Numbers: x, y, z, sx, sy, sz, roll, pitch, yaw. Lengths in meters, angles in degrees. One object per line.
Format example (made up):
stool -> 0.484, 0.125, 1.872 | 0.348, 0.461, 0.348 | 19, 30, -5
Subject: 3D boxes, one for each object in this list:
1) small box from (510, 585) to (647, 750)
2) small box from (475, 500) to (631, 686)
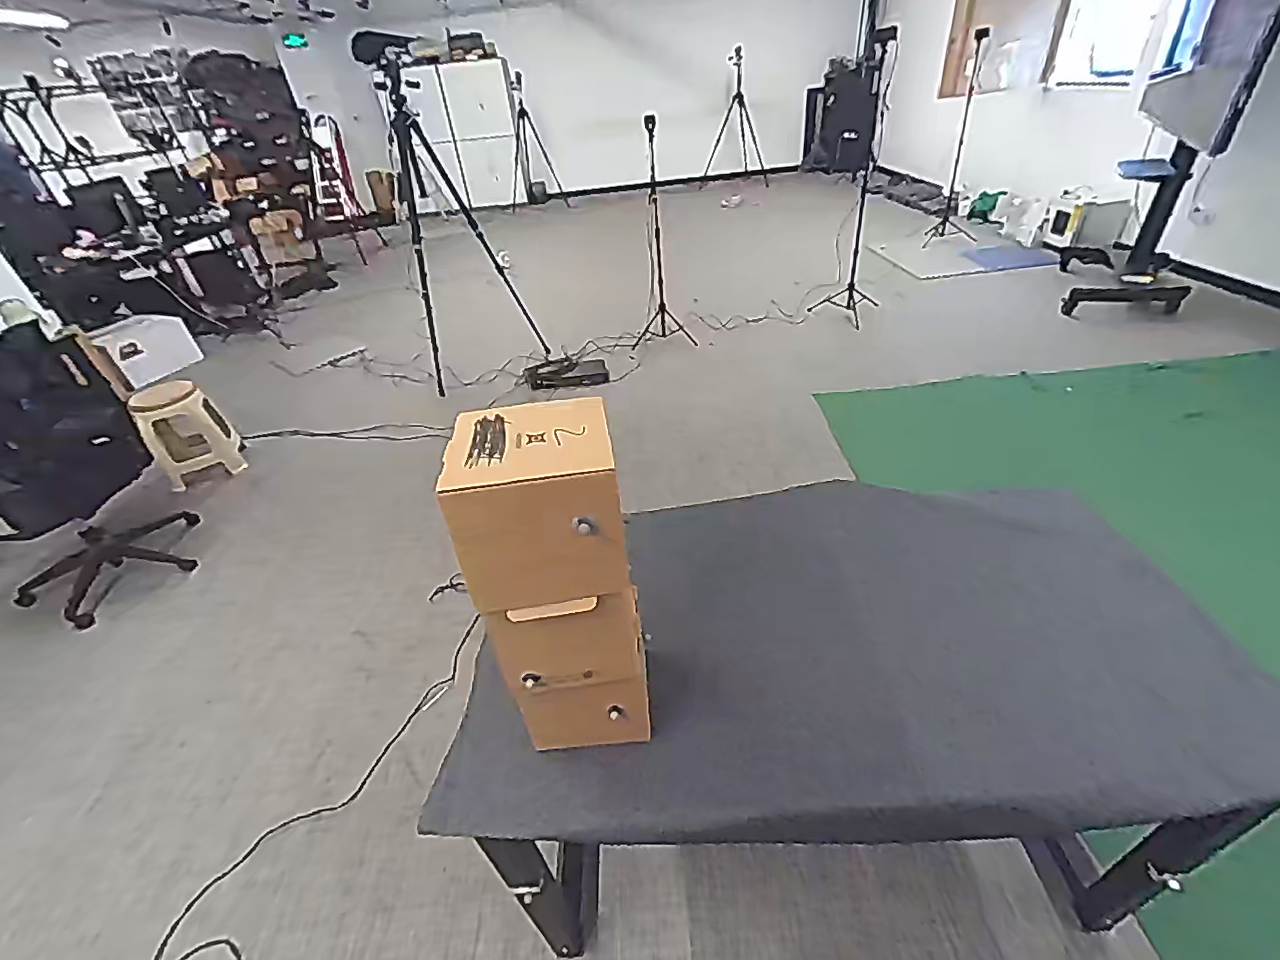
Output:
small box -> -0.082, 0.284, 0.823 | 0.179, 0.176, 0.168 | -7, 35, 1
small box -> -0.108, 0.154, 0.726 | 0.168, 0.176, 0.179 | -8, 34, -3
